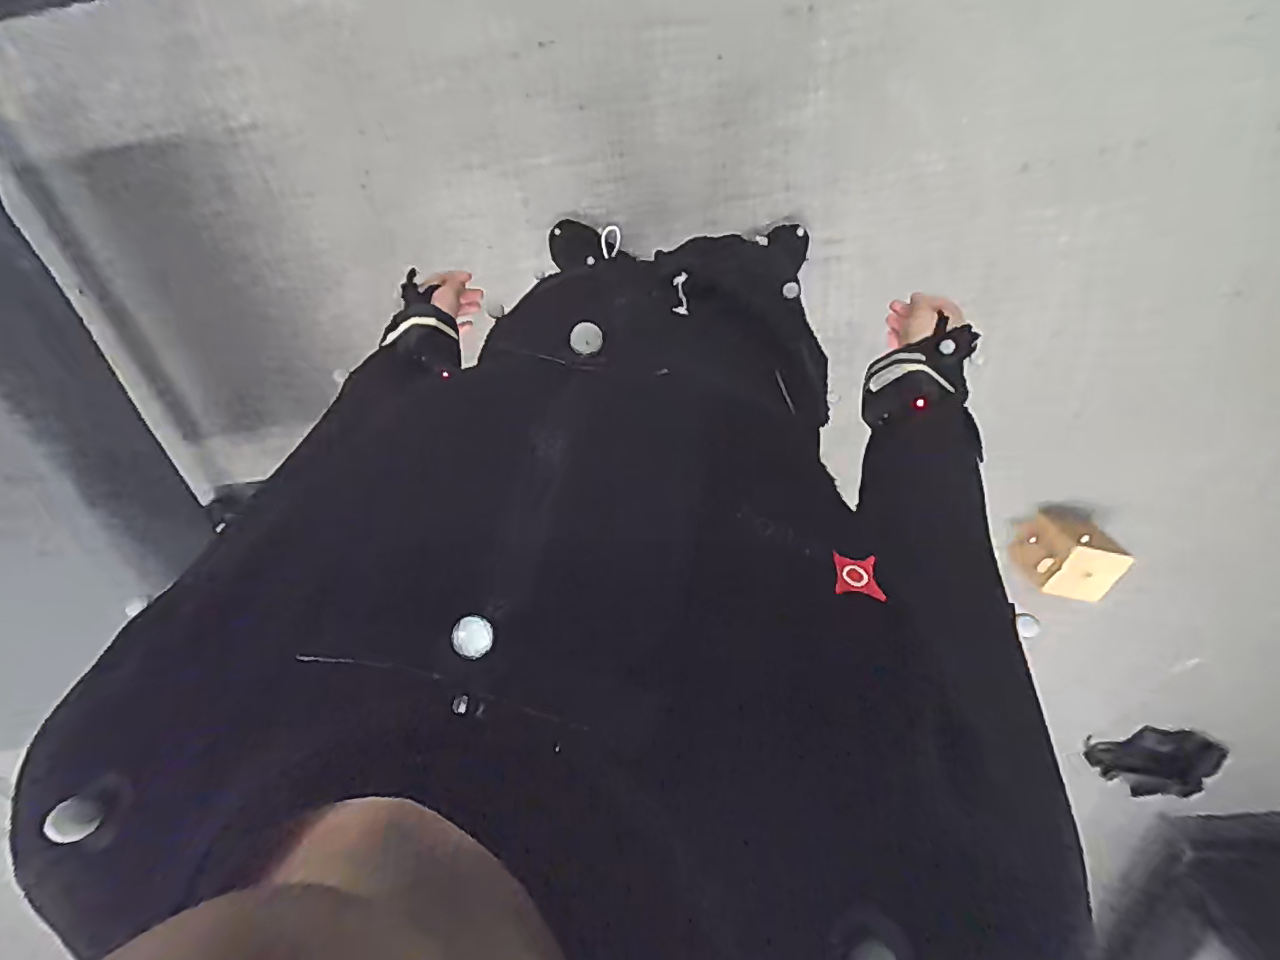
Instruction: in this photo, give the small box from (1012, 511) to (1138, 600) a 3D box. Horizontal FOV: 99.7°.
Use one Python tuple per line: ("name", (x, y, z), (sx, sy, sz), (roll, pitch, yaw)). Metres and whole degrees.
("small box", (1.196, 0.206, 1.503), (0.179, 0.176, 0.168), (11, 121, -5))
